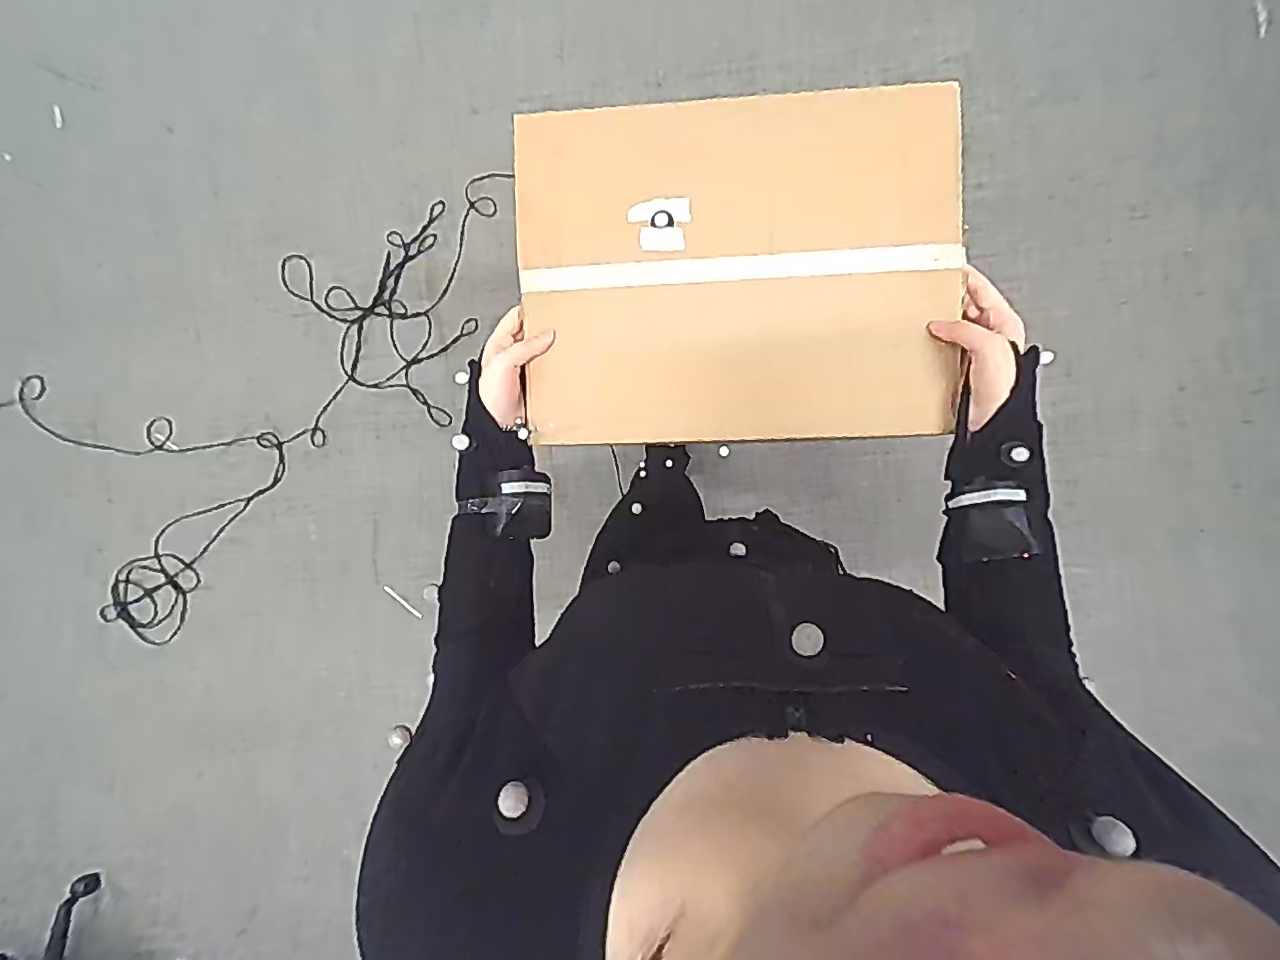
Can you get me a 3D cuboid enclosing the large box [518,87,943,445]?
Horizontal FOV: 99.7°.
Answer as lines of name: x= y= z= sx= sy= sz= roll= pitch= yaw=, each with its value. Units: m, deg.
large box: x=0.100 y=-0.208 z=0.667 sx=0.408 sy=0.320 sz=0.320 roll=-2 pitch=93 yaw=6
